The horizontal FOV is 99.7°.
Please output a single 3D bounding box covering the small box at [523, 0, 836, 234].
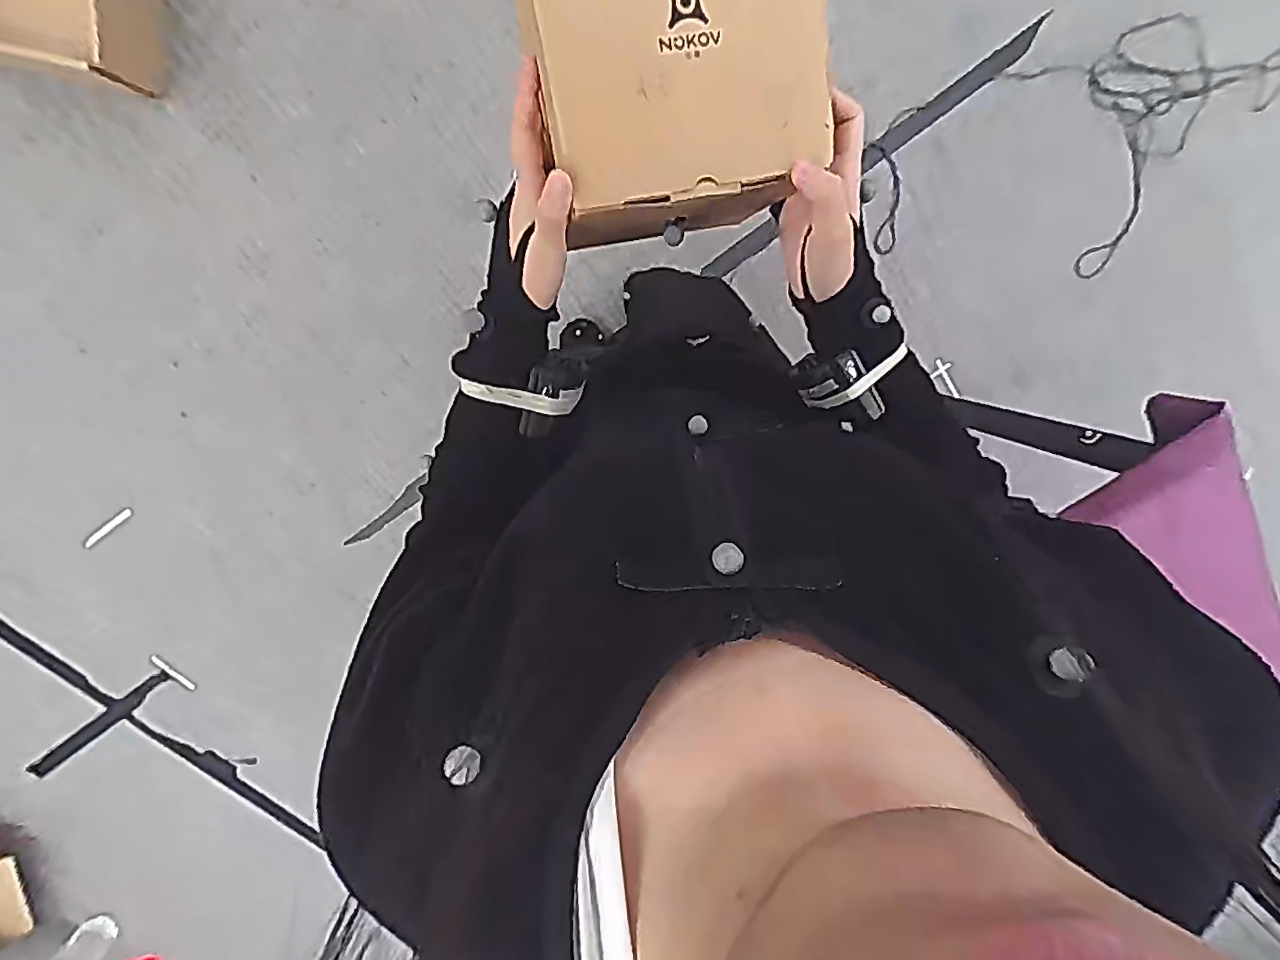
[{"bbox_3d":[0.016,-0.279,0.374,0.168,0.176,0.179,-13,108,-7],"label":"small box"}]
